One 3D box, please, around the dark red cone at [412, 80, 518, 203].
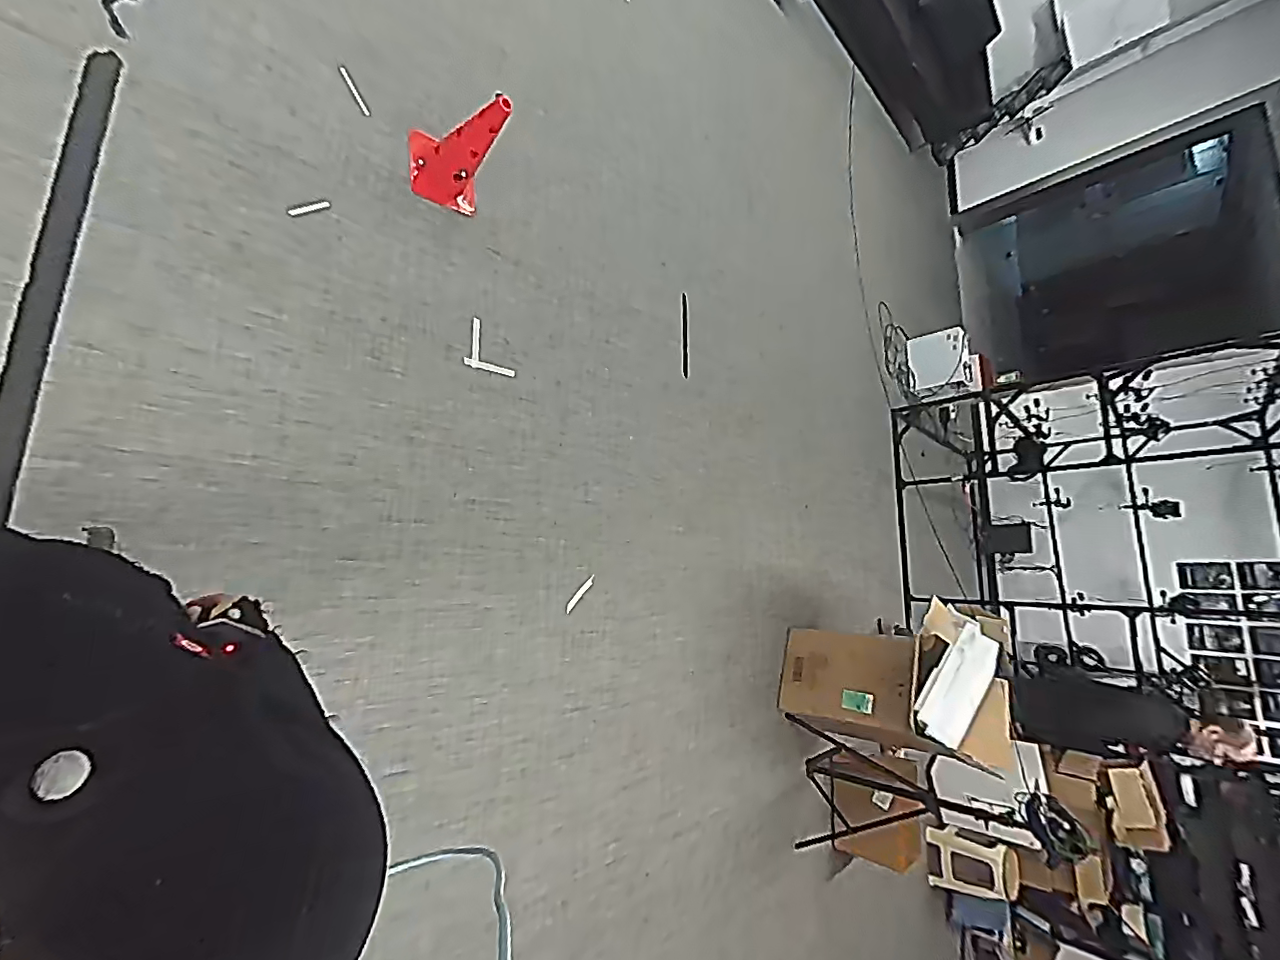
[{"bbox_3d":[-0.450,-0.945,1.464,0.201,0.394,0.202,1,83,-45],"label":"dark red cone"}]
